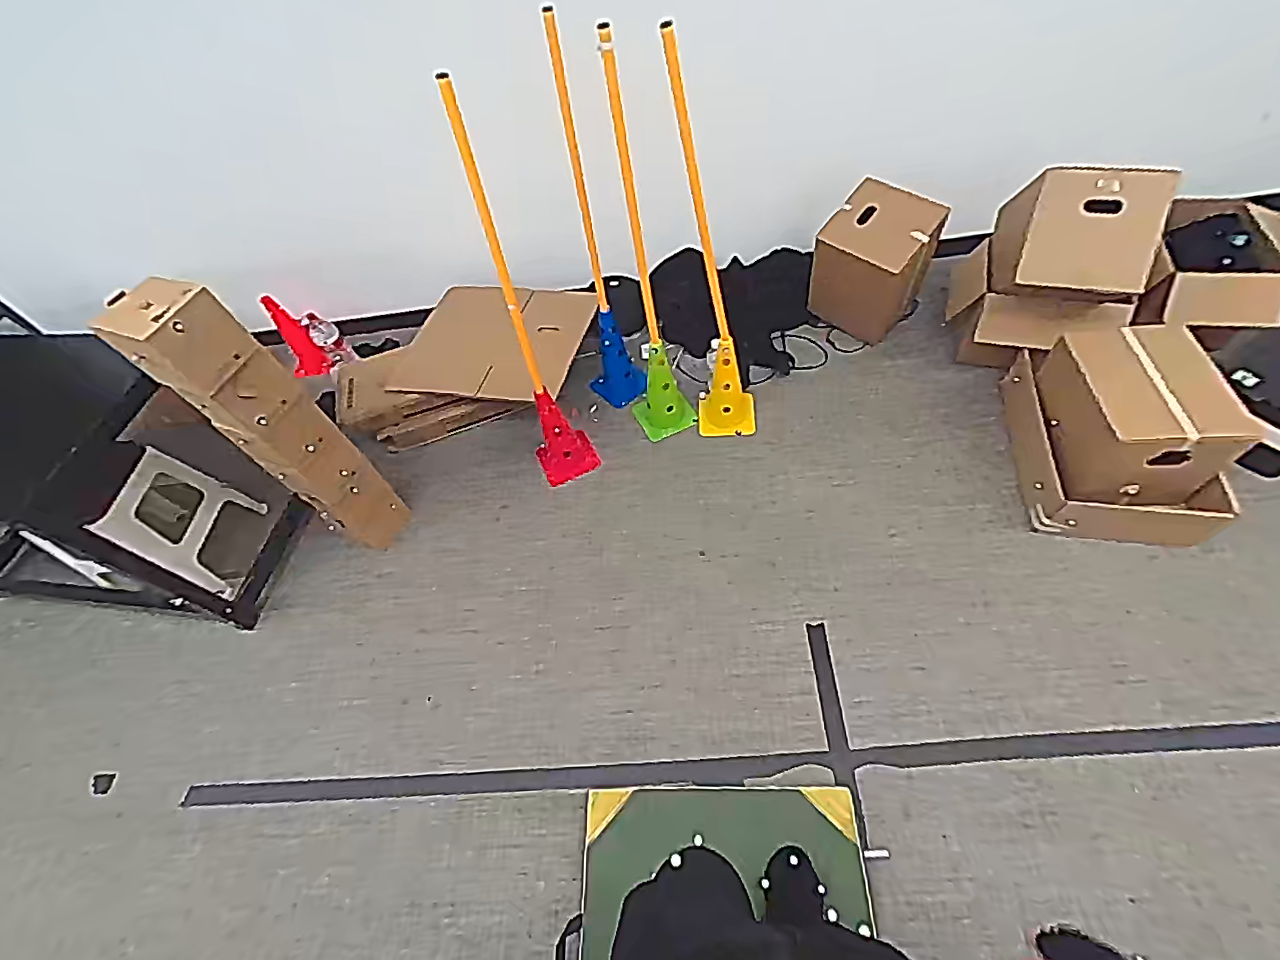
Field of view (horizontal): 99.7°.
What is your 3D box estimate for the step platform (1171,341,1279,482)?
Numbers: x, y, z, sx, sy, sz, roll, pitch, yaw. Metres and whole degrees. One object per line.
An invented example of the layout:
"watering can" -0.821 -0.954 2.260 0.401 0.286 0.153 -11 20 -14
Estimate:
"step platform" 2.020 -0.277 1.642 0.684 0.204 0.286 -29 56 -10
